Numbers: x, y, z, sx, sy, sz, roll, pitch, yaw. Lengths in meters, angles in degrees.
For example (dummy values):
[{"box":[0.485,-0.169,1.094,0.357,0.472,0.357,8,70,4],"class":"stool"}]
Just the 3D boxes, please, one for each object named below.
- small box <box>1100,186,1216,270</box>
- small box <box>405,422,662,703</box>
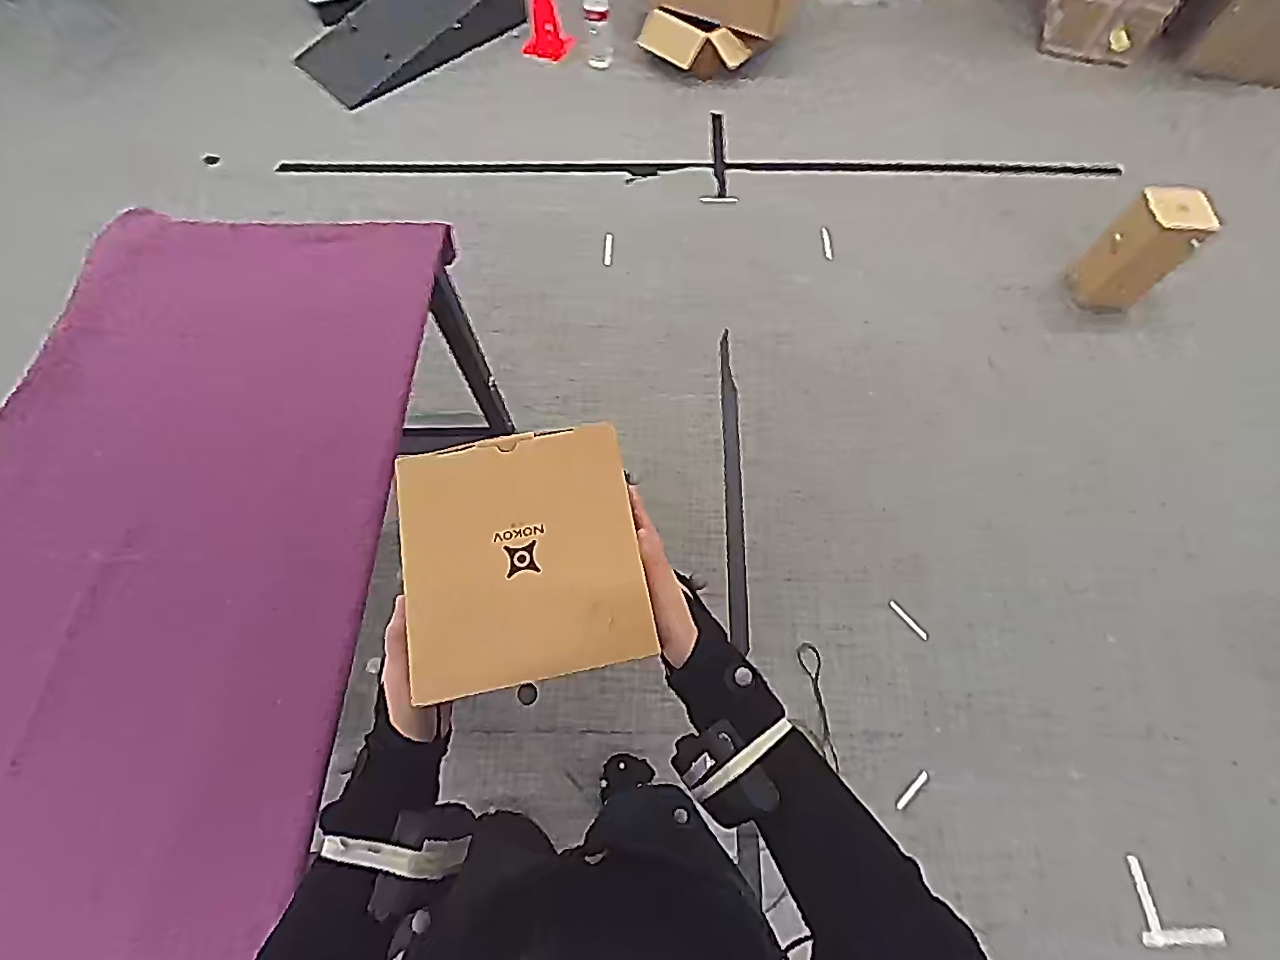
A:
[{"box":[1.586,-0.772,1.667,0.179,0.176,0.168,4,65,3],"class":"small box"},{"box":[-0.079,0.075,0.457,0.168,0.176,0.179,-11,71,-4],"class":"small box"}]
